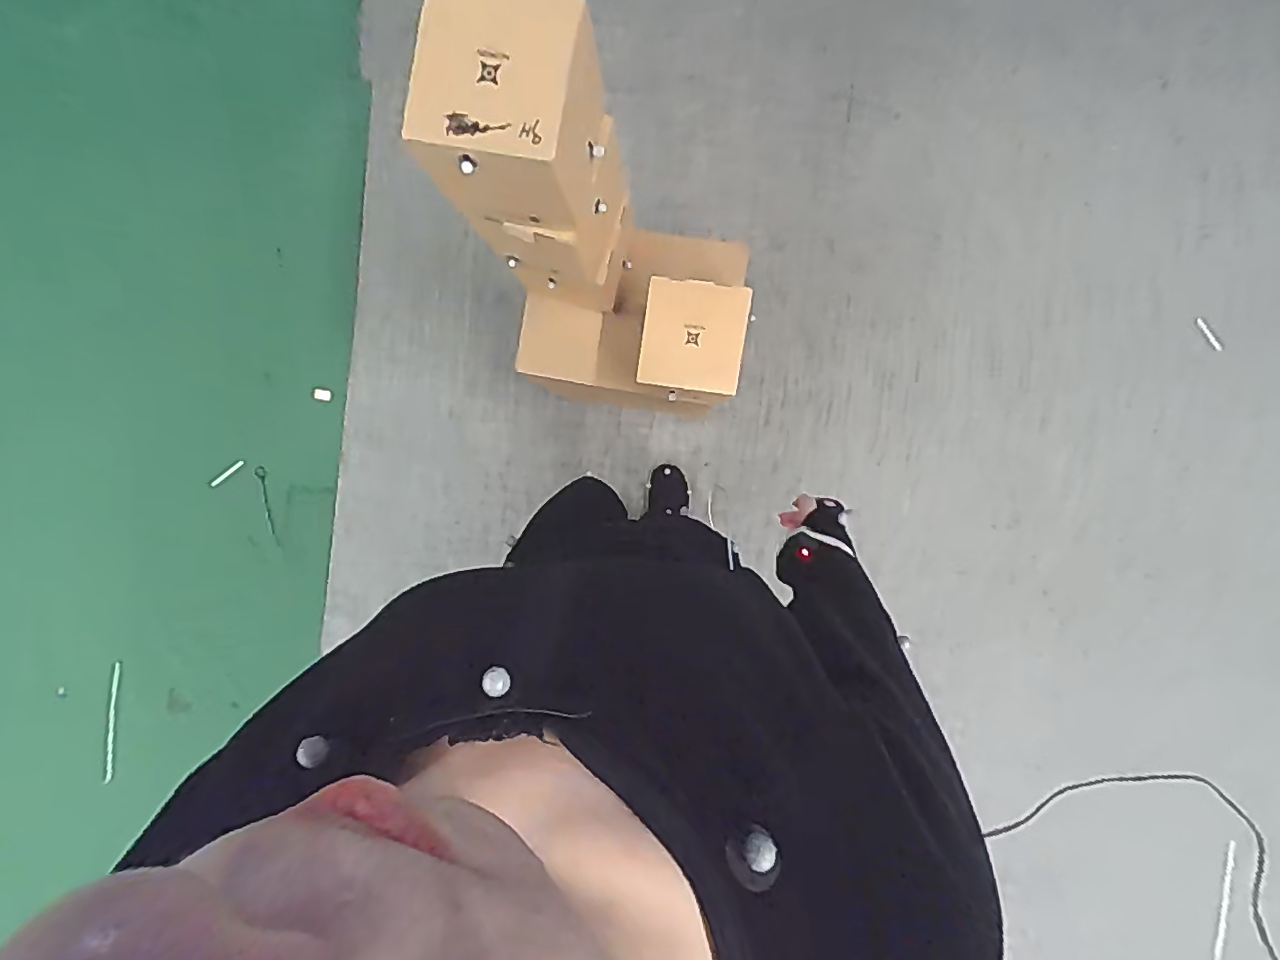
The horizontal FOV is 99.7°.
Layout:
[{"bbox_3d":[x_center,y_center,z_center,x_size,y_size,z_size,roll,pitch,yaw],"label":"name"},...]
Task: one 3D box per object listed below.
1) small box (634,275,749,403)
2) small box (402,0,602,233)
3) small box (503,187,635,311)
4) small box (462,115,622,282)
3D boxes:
[{"bbox_3d":[0.089,-0.237,0.951,0.168,0.176,0.179,9,92,3],"label":"small box"},{"bbox_3d":[-0.145,-0.424,0.634,0.168,0.176,0.179,12,91,4],"label":"small box"},{"bbox_3d":[-0.117,-0.419,0.962,0.179,0.176,0.168,17,93,3],"label":"small box"},{"bbox_3d":[-0.132,-0.419,0.798,0.168,0.176,0.179,19,91,3],"label":"small box"}]
